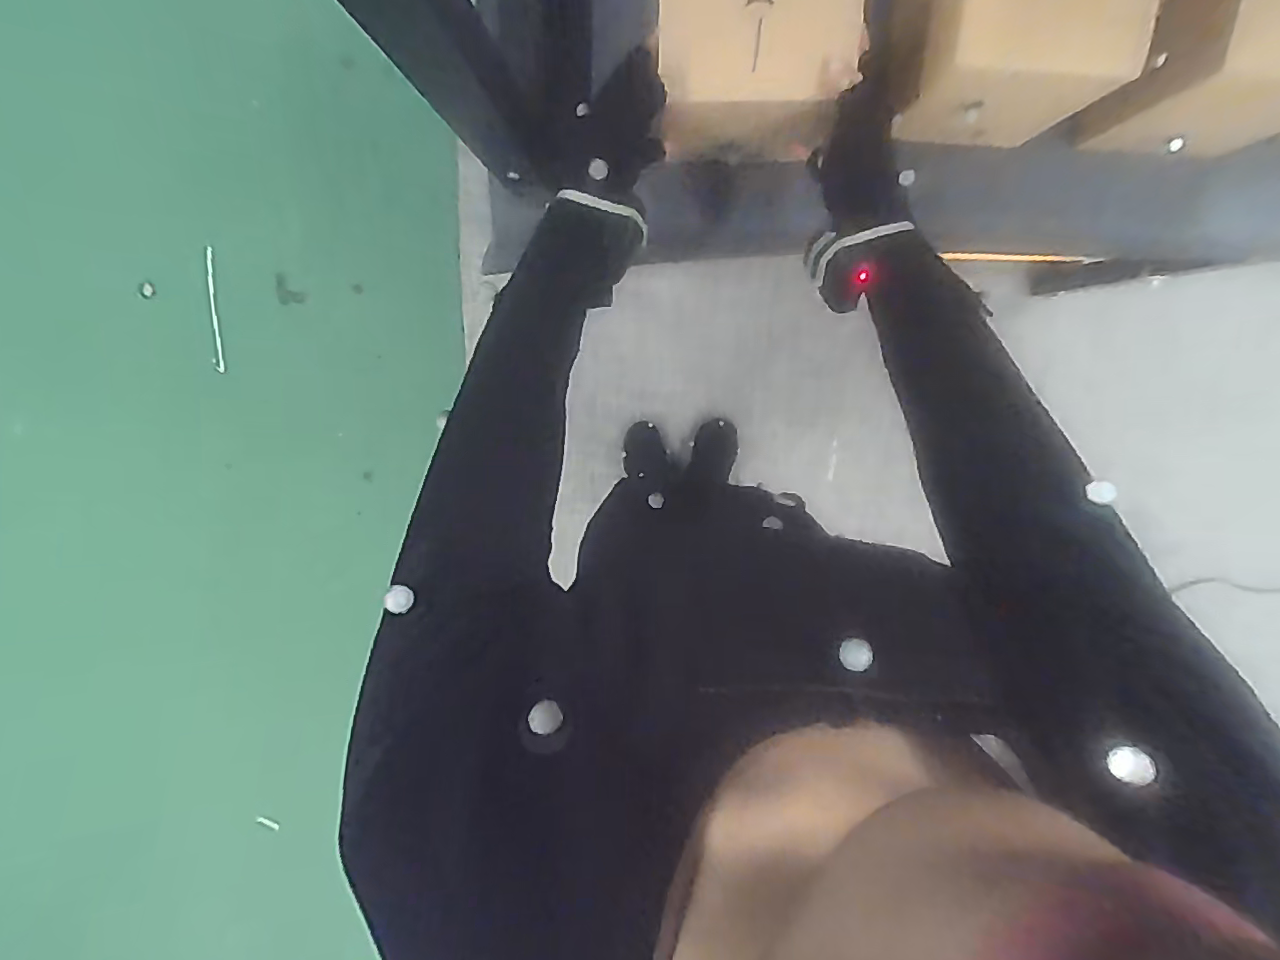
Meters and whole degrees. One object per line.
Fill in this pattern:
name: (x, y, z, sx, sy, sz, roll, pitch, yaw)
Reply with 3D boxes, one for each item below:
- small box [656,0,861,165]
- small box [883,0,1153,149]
small box: (0.102, -0.421, 0.512, 0.168, 0.176, 0.179, 2, 106, 3)
small box: (0.362, -0.455, 0.537, 0.168, 0.176, 0.179, 5, 102, 2)
